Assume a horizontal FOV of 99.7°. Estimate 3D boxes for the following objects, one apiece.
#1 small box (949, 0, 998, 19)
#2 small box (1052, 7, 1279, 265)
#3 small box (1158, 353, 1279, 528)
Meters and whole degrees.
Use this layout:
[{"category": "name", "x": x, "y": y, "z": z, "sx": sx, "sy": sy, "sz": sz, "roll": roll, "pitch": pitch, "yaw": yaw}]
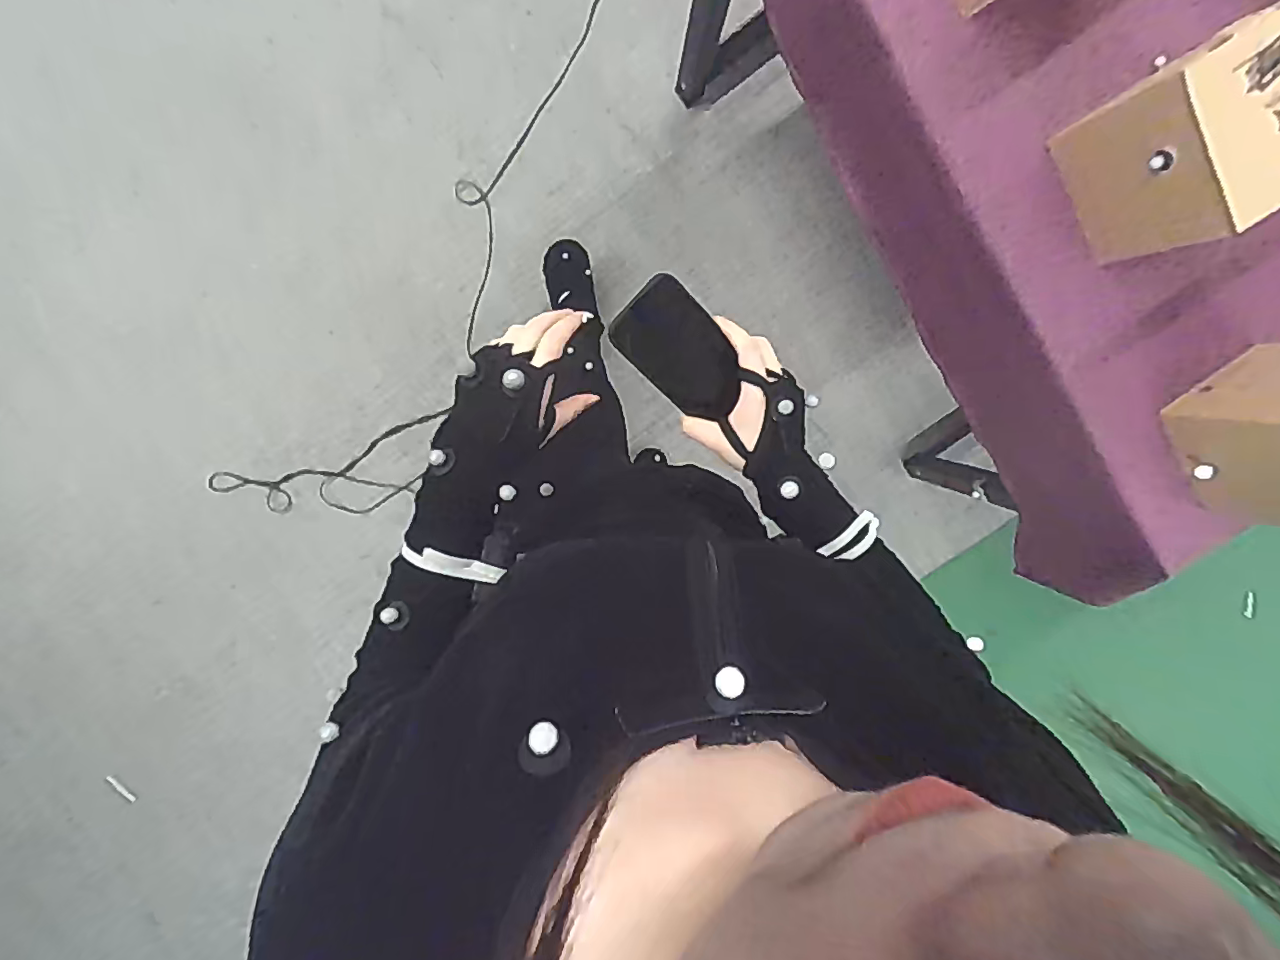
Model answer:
[{"category": "small box", "x": 0.411, "y": -0.649, "z": 0.557, "sx": 0.168, "sy": 0.176, "sz": 0.179, "roll": -34, "pitch": 101, "yaw": 4}, {"category": "small box", "x": 0.626, "y": -0.376, "z": 0.616, "sx": 0.168, "sy": 0.176, "sz": 0.179, "roll": -32, "pitch": 101, "yaw": 3}, {"category": "small box", "x": 0.834, "y": -0.052, "z": 0.684, "sx": 0.168, "sy": 0.176, "sz": 0.179, "roll": -36, "pitch": 100, "yaw": 4}]
